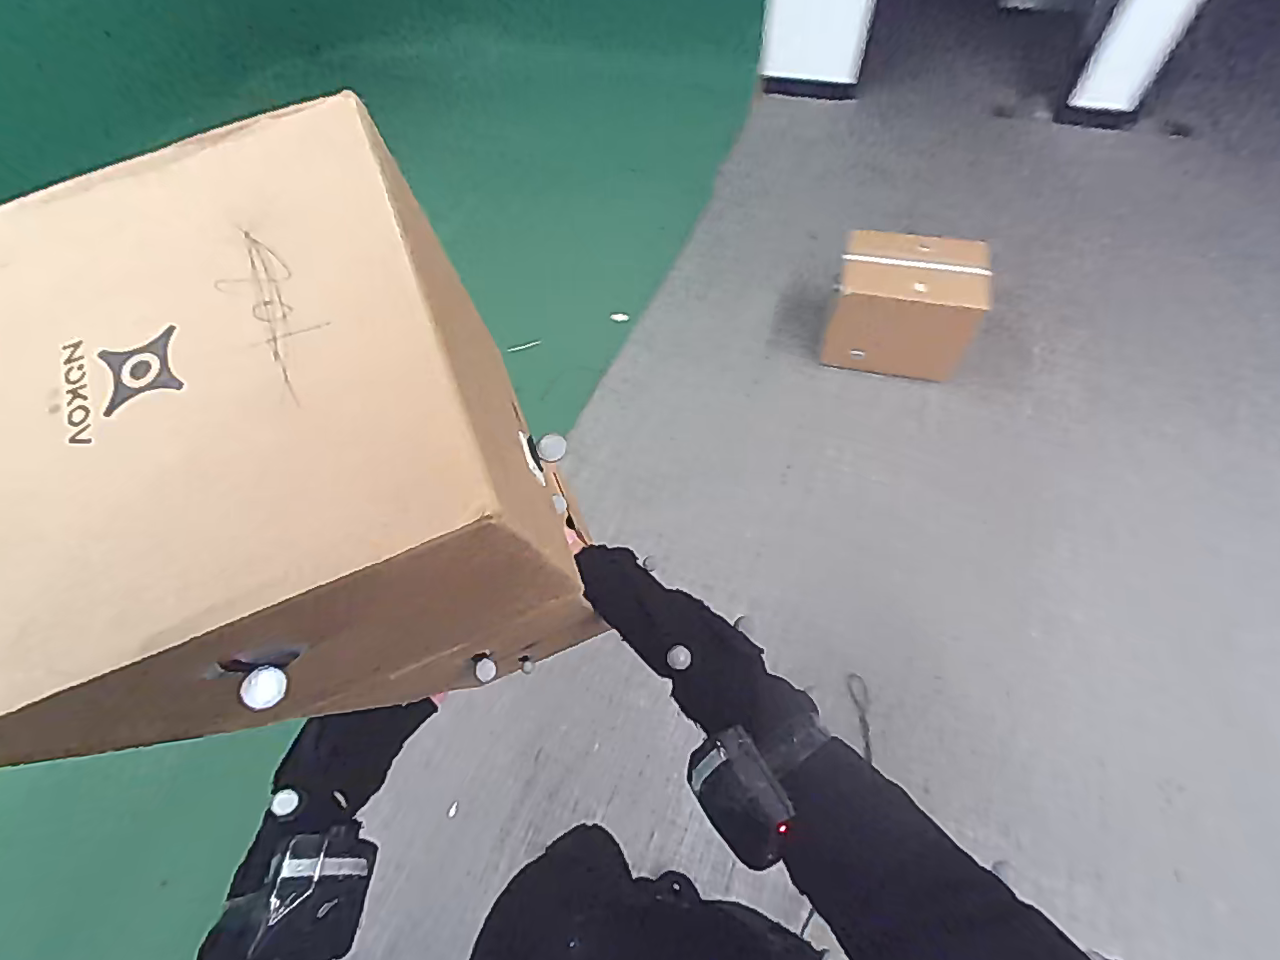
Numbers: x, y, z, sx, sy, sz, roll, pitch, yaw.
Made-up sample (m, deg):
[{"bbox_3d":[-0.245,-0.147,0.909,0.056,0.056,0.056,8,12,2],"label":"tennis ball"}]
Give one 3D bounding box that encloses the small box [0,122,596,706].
[{"bbox_3d":[-0.134,-0.010,0.252,0.179,0.176,0.168,-21,72,-5],"label":"small box"}]
